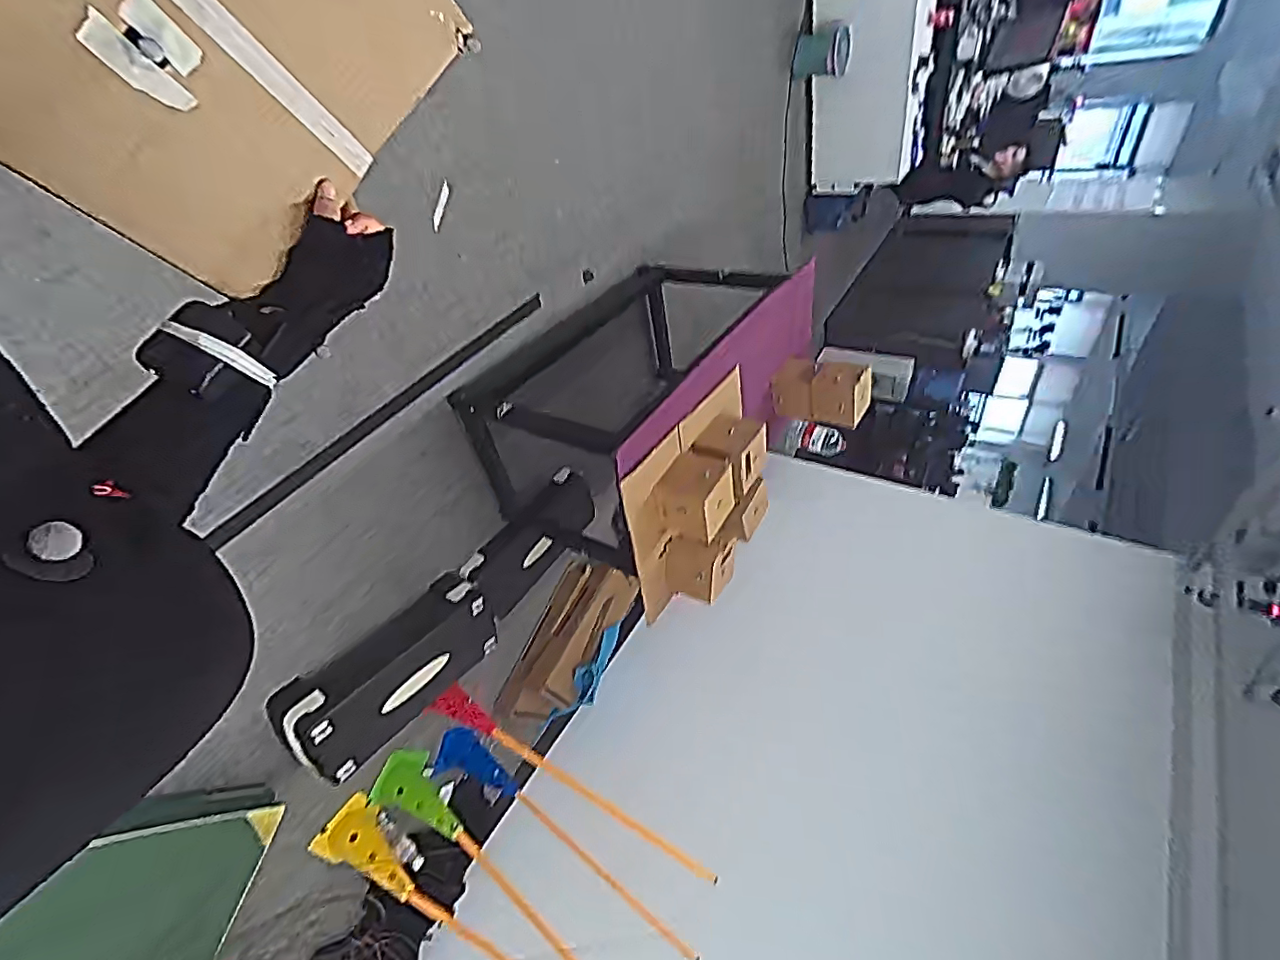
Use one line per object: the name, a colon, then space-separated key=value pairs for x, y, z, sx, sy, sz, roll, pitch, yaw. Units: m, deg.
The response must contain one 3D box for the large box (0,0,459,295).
large box: x=-0.434 y=-0.415 z=0.387 sx=0.320 sy=0.320 sz=0.408 roll=-54 pitch=148 yaw=-2
